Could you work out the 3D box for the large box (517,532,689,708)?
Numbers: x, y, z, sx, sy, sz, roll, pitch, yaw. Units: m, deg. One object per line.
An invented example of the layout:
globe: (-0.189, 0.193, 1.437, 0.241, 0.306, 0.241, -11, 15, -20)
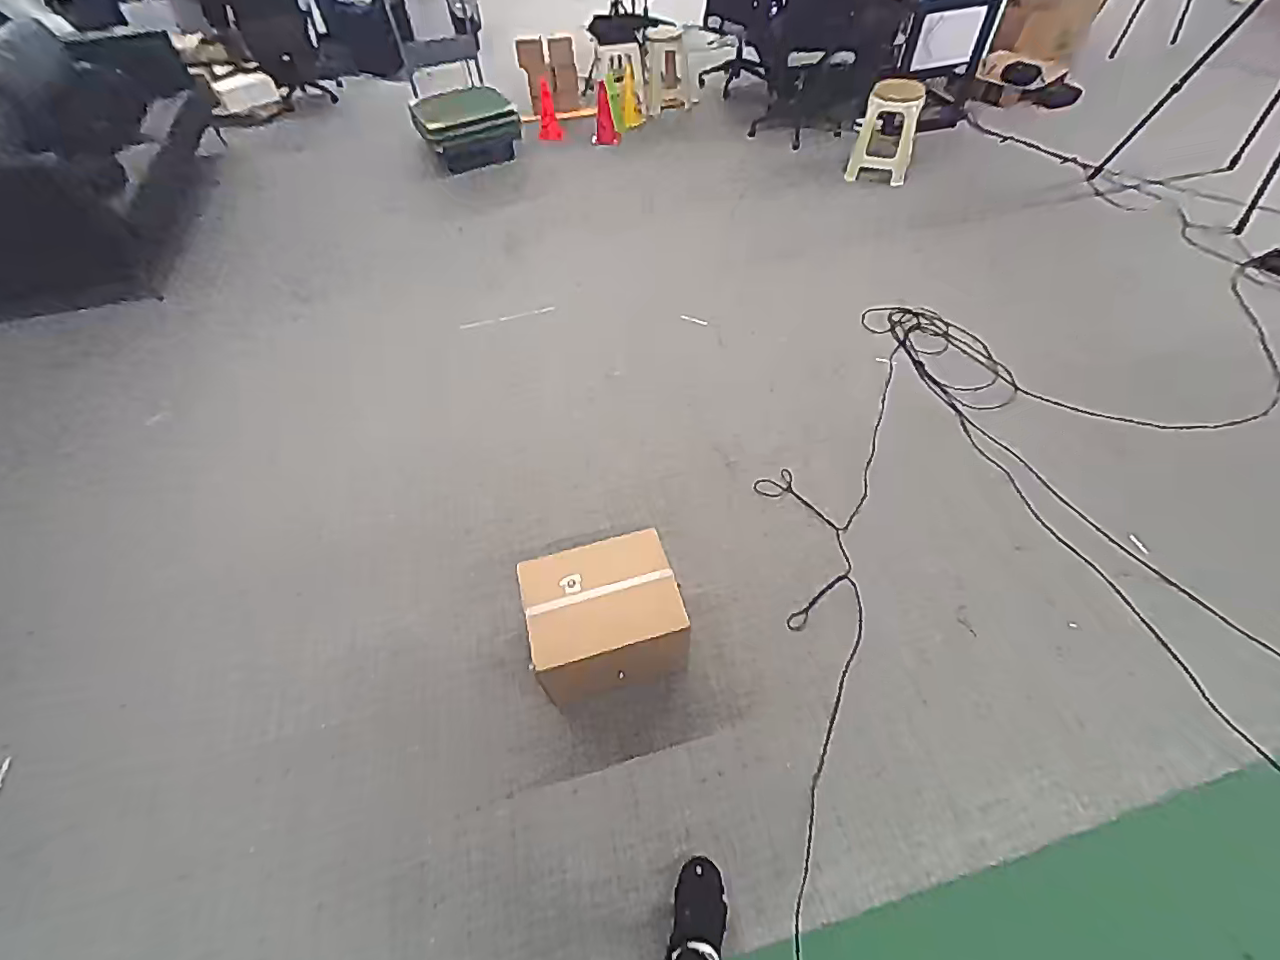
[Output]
large box: (-0.099, 0.404, 1.554, 0.408, 0.320, 0.320, -16, 52, -8)
